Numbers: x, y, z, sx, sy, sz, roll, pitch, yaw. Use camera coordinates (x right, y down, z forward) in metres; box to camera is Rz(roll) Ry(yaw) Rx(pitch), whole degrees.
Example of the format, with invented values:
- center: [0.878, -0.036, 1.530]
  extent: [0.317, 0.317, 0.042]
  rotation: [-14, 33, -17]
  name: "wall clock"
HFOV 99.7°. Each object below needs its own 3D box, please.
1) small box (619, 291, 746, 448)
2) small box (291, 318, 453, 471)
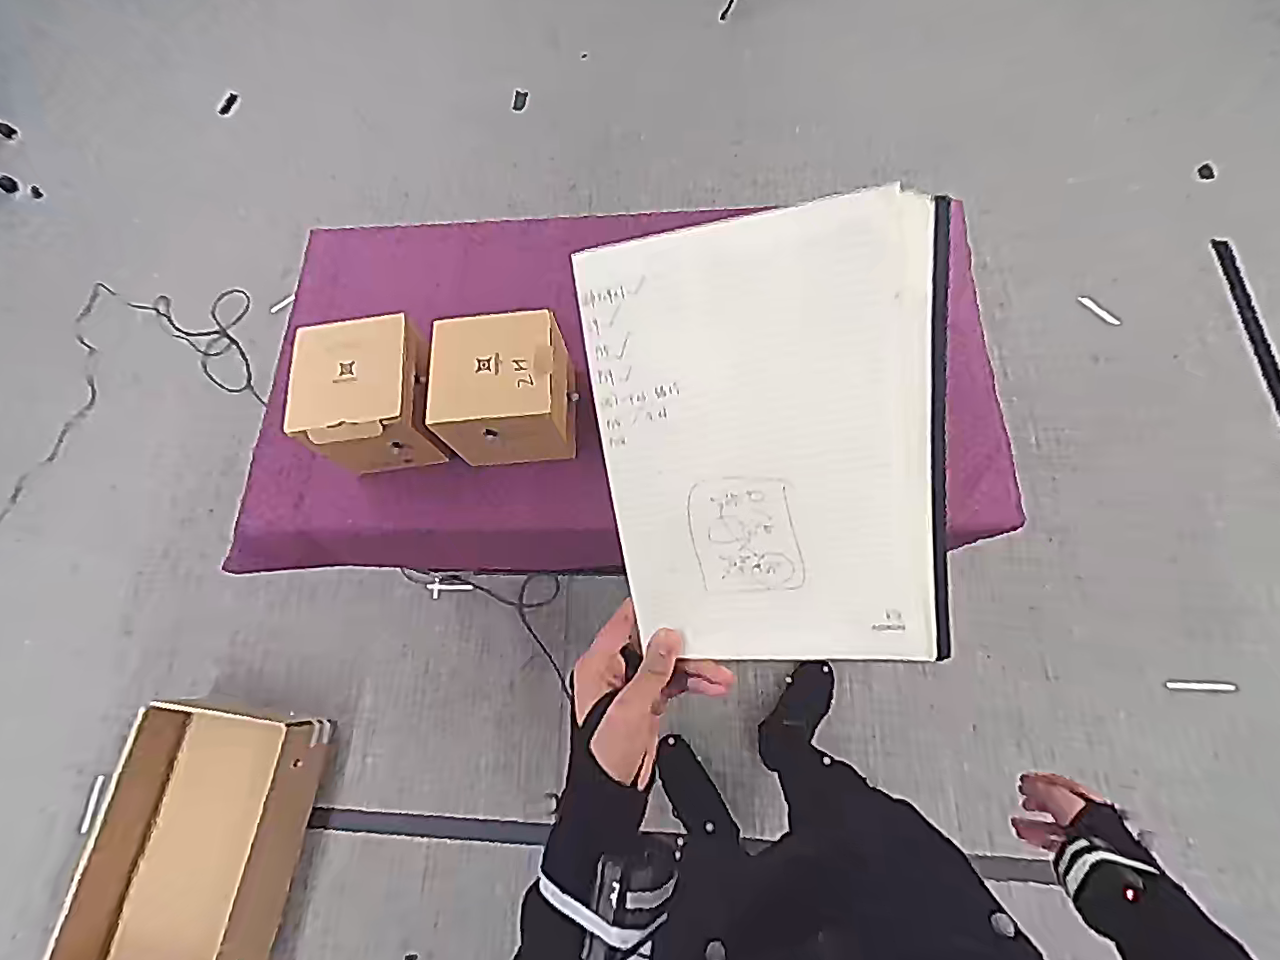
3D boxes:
- center: [0.067, -0.157, 0.809]
  extent: [0.168, 0.176, 0.179]
  rotation: [3, 71, 6]
  name: "small box"
- center: [-0.404, -0.122, 0.843]
  extent: [0.168, 0.176, 0.179]
  rotation: [-8, 70, 2]
  name: "small box"
